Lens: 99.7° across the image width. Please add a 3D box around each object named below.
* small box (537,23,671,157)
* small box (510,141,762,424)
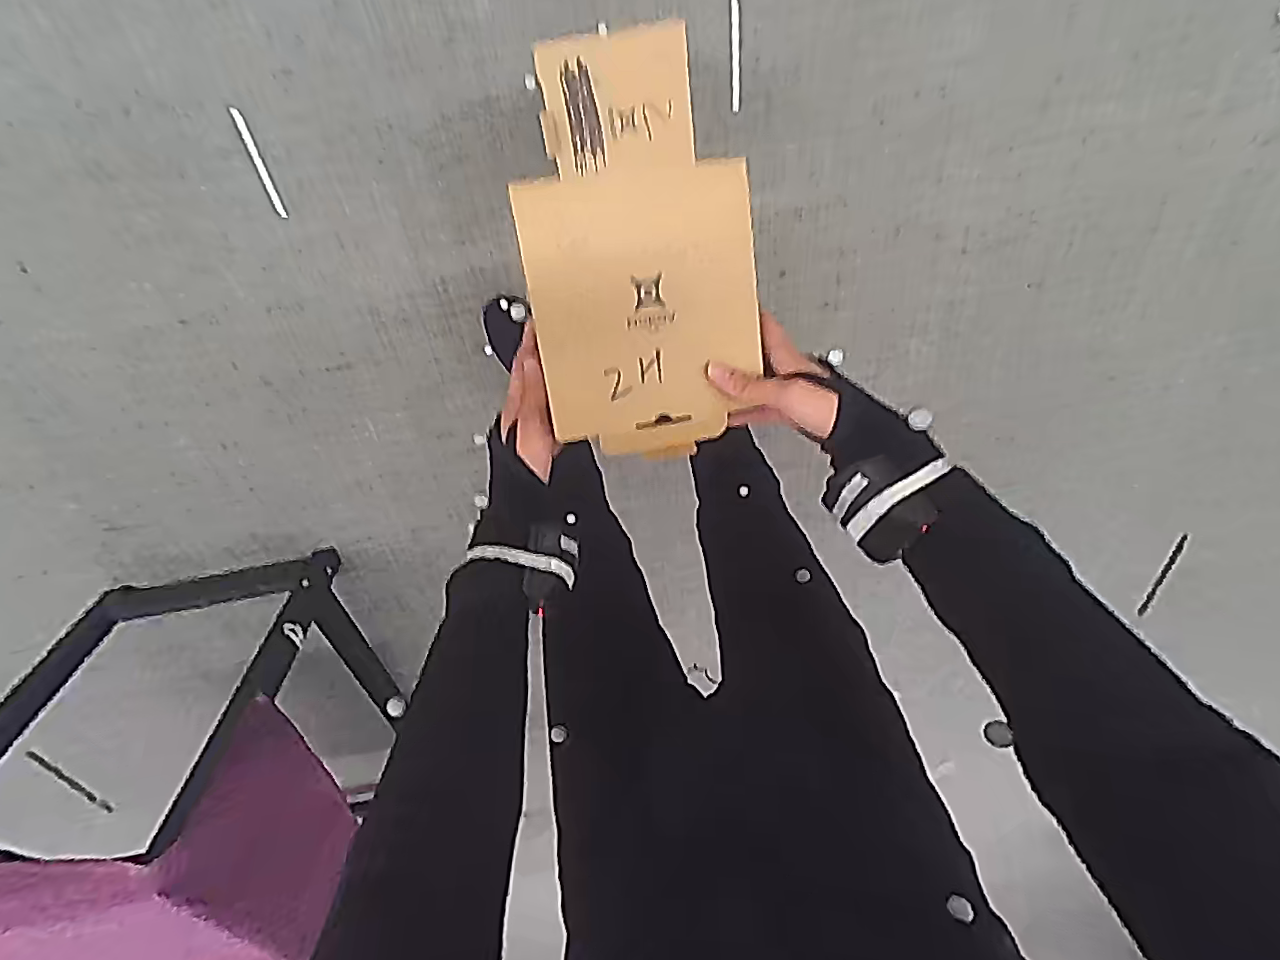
[{"bbox_3d":[-0.051,-0.569,0.832,0.168,0.176,0.179,-13,126,1],"label":"small box"},{"bbox_3d":[-0.011,-0.156,0.457,0.168,0.176,0.179,-11,107,-8],"label":"small box"}]
